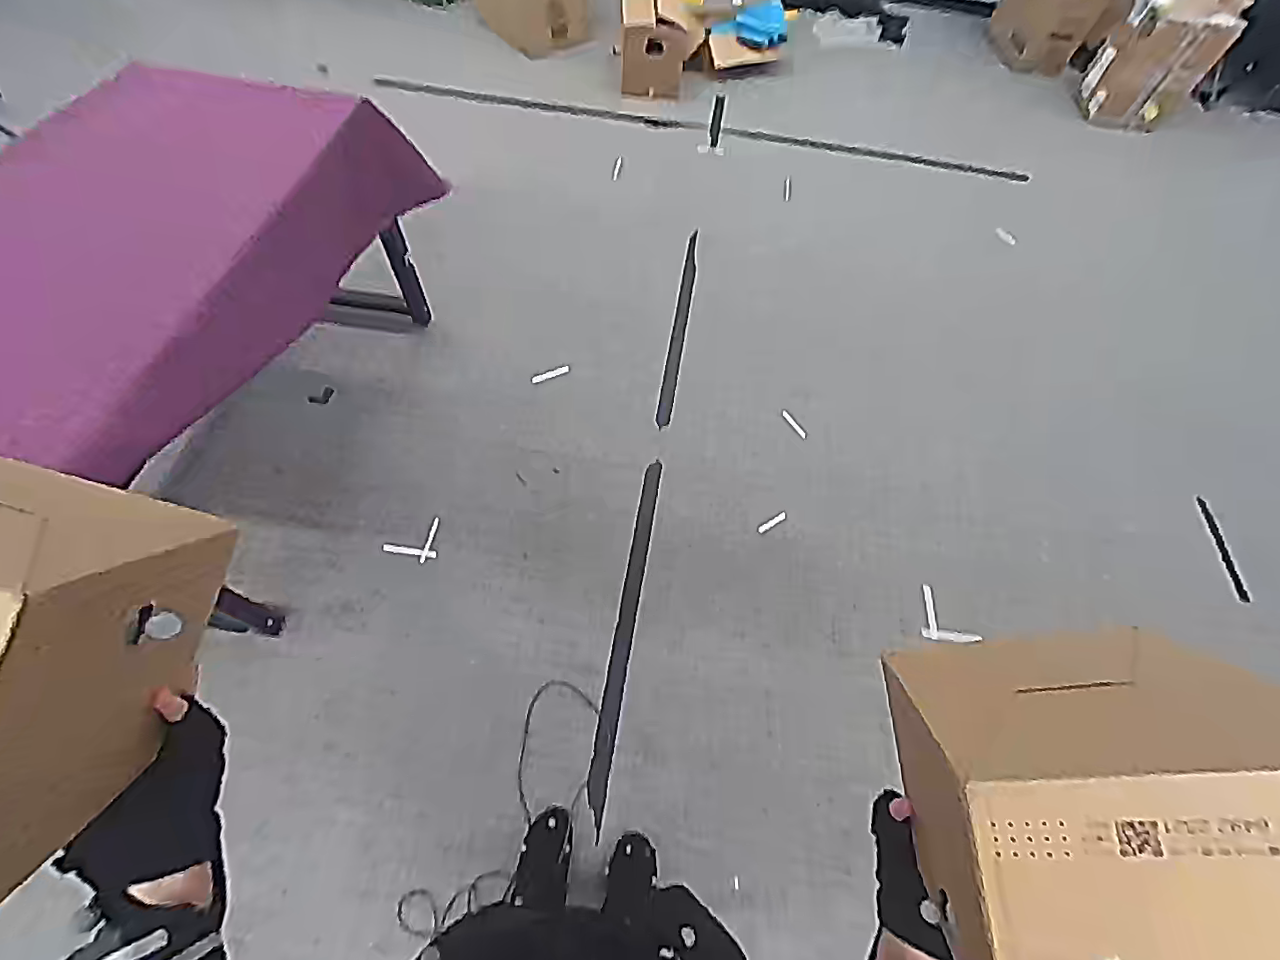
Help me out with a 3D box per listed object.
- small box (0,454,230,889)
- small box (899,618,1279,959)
[{"bbox_3d":[-0.338,0.078,0.246,0.168,0.179,0.176,20,87,-15],"label":"small box"},{"bbox_3d":[0.252,0.185,0.289,0.168,0.179,0.176,-9,90,13],"label":"small box"}]
